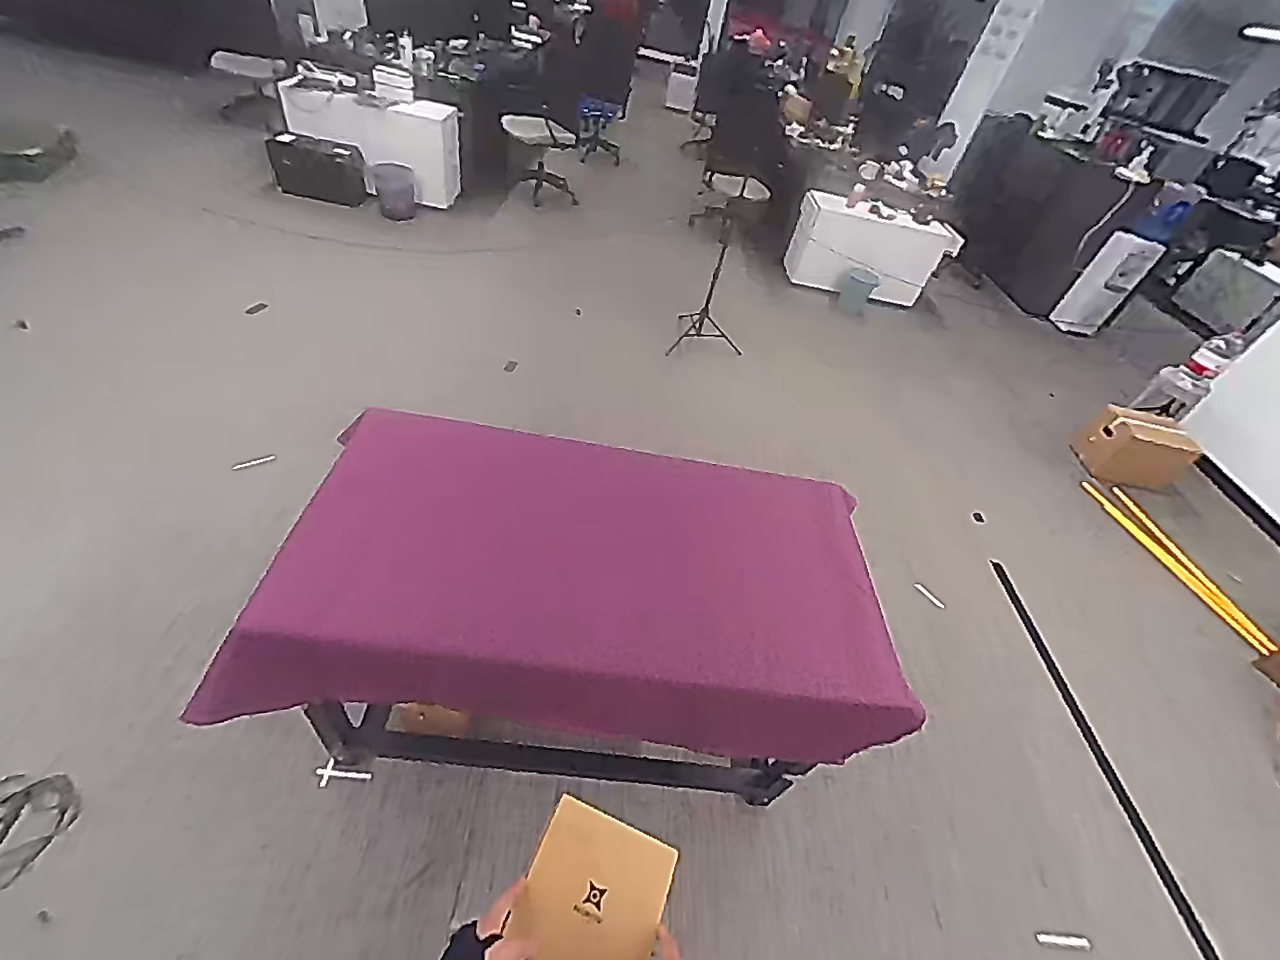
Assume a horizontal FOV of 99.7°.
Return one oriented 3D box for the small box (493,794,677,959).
[{"bbox_3d":[-0.074,0.542,0.686,0.168,0.176,0.179,25,46,5],"label":"small box"}]
